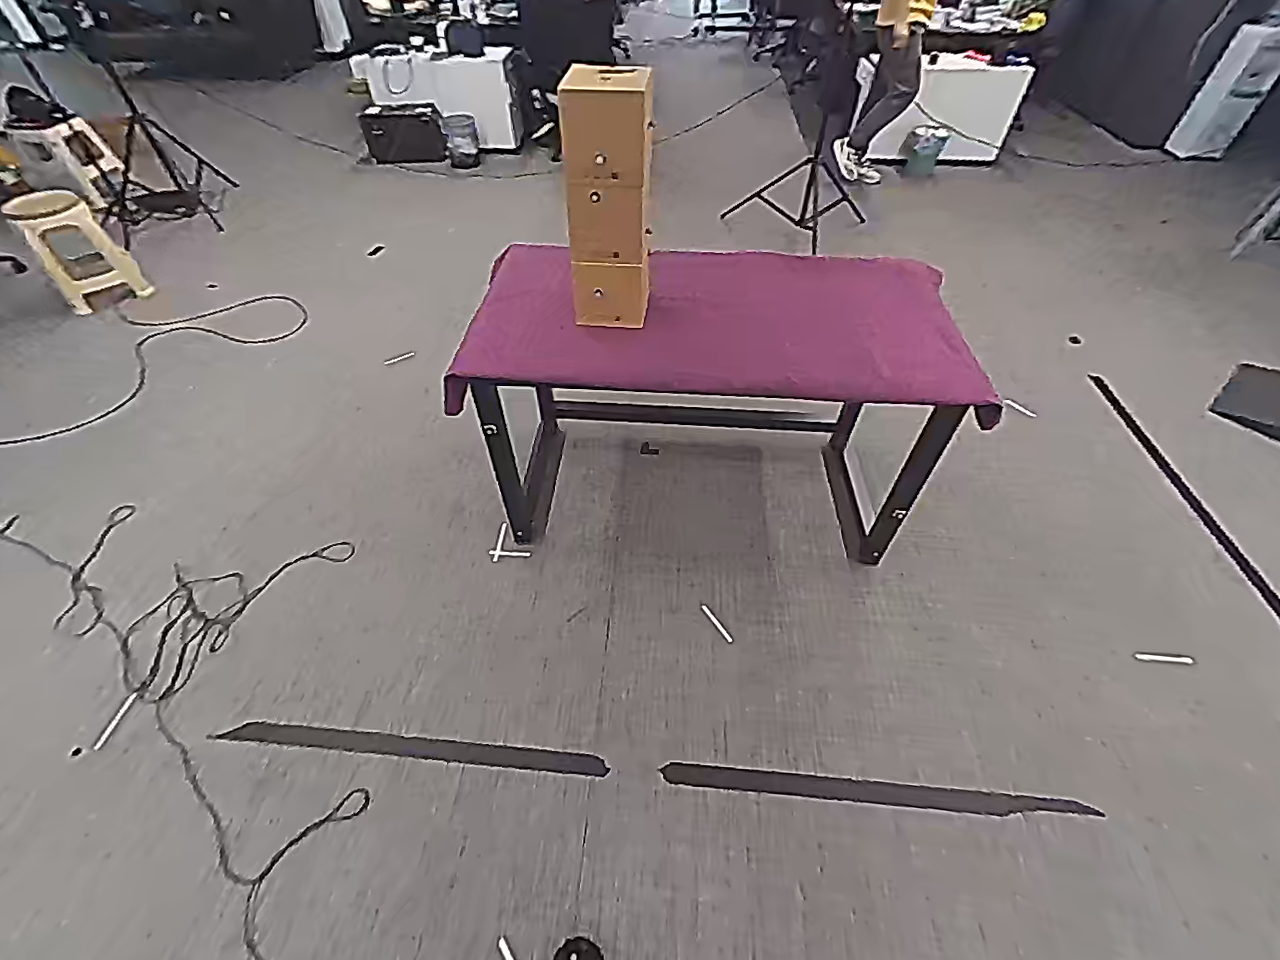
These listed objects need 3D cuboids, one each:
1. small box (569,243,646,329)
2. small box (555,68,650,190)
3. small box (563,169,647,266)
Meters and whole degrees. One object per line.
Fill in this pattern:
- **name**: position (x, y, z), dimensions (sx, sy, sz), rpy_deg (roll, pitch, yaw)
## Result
- **small box**: position (-0.074, -0.494, 1.346), dimensions (0.168, 0.176, 0.179), rpy_deg (4, 48, 3)
- **small box**: position (-0.070, -0.717, 1.104), dimensions (0.168, 0.176, 0.179), rpy_deg (4, 49, 3)
- **small box**: position (-0.074, -0.608, 1.228), dimensions (0.168, 0.176, 0.179), rpy_deg (3, 47, 3)
